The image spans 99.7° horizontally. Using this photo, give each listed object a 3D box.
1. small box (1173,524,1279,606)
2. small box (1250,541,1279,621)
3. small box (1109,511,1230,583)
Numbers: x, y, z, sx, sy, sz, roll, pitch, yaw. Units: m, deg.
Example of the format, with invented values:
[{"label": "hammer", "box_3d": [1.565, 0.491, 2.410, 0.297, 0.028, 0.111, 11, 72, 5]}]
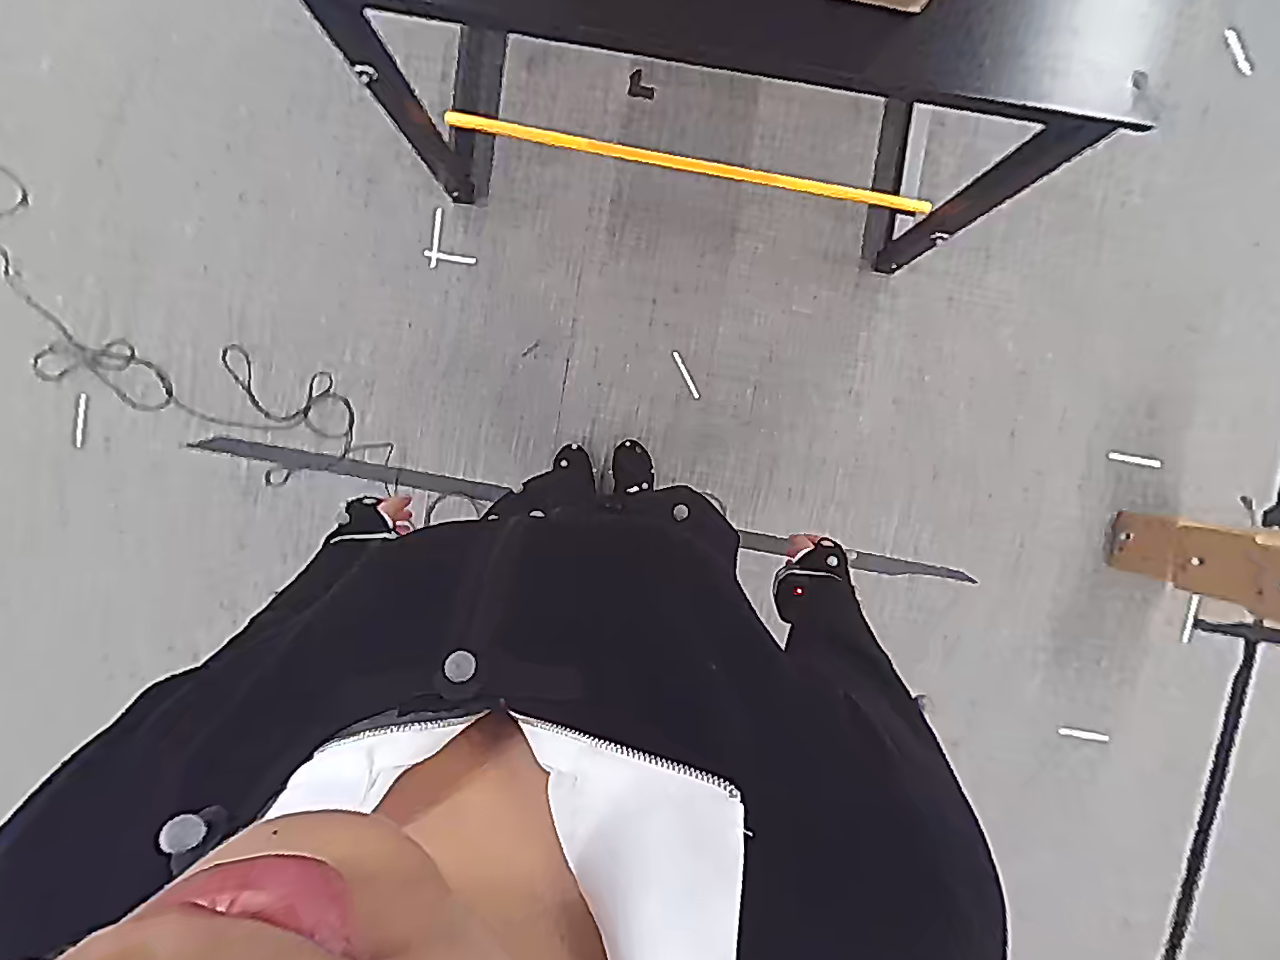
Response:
[{"label": "small box", "box_3d": [1.429, 0.196, 1.273, 0.179, 0.176, 0.168, 1, 93, -1]}, {"label": "small box", "box_3d": [1.427, 0.219, 1.110, 0.179, 0.176, 0.168, -1, 94, -1]}, {"label": "small box", "box_3d": [1.414, 0.179, 1.436, 0.179, 0.176, 0.168, 6, 93, 0]}]
